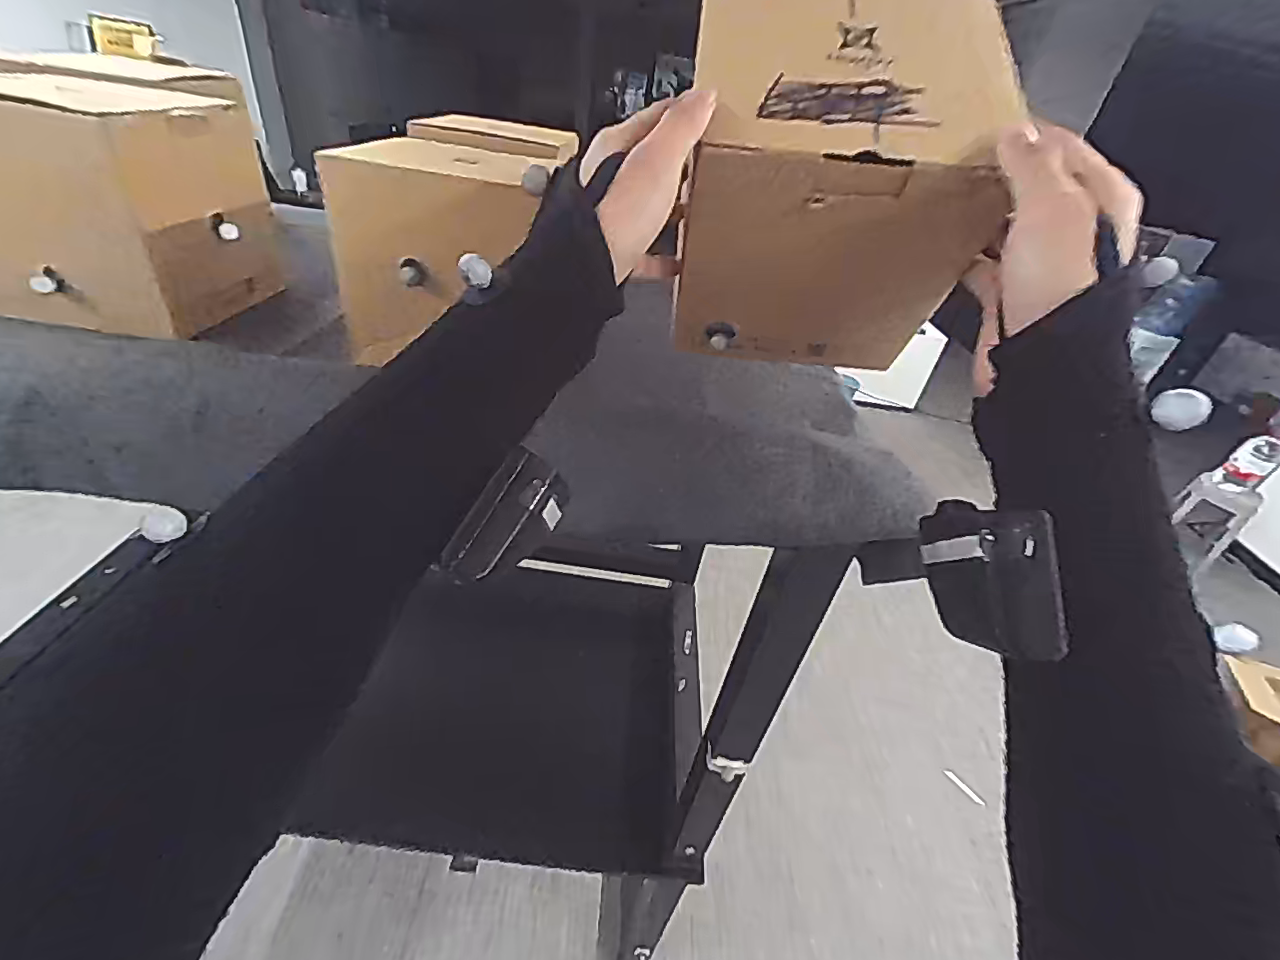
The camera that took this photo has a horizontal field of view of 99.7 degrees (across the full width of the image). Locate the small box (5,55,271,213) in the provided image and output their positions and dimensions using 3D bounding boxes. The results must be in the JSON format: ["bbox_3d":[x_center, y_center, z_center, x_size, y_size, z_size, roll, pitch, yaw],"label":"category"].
[{"bbox_3d":[-0.611,-0.424,0.695,0.168,0.176,0.179,3,36,-7],"label":"small box"}]

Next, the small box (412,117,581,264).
[{"bbox_3d":[-0.182,-0.376,0.730,0.179,0.176,0.168,8,36,-2],"label":"small box"}]

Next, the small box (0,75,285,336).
[{"bbox_3d":[-0.459,-0.242,0.483,0.179,0.176,0.168,8,35,-4],"label":"small box"}]

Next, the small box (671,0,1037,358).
[{"bbox_3d":[0.111,-0.201,0.357,0.168,0.176,0.179,5,67,1],"label":"small box"}]

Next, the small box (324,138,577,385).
[{"bbox_3d":[-0.153,-0.203,0.501,0.168,0.176,0.179,7,35,-4],"label":"small box"}]
